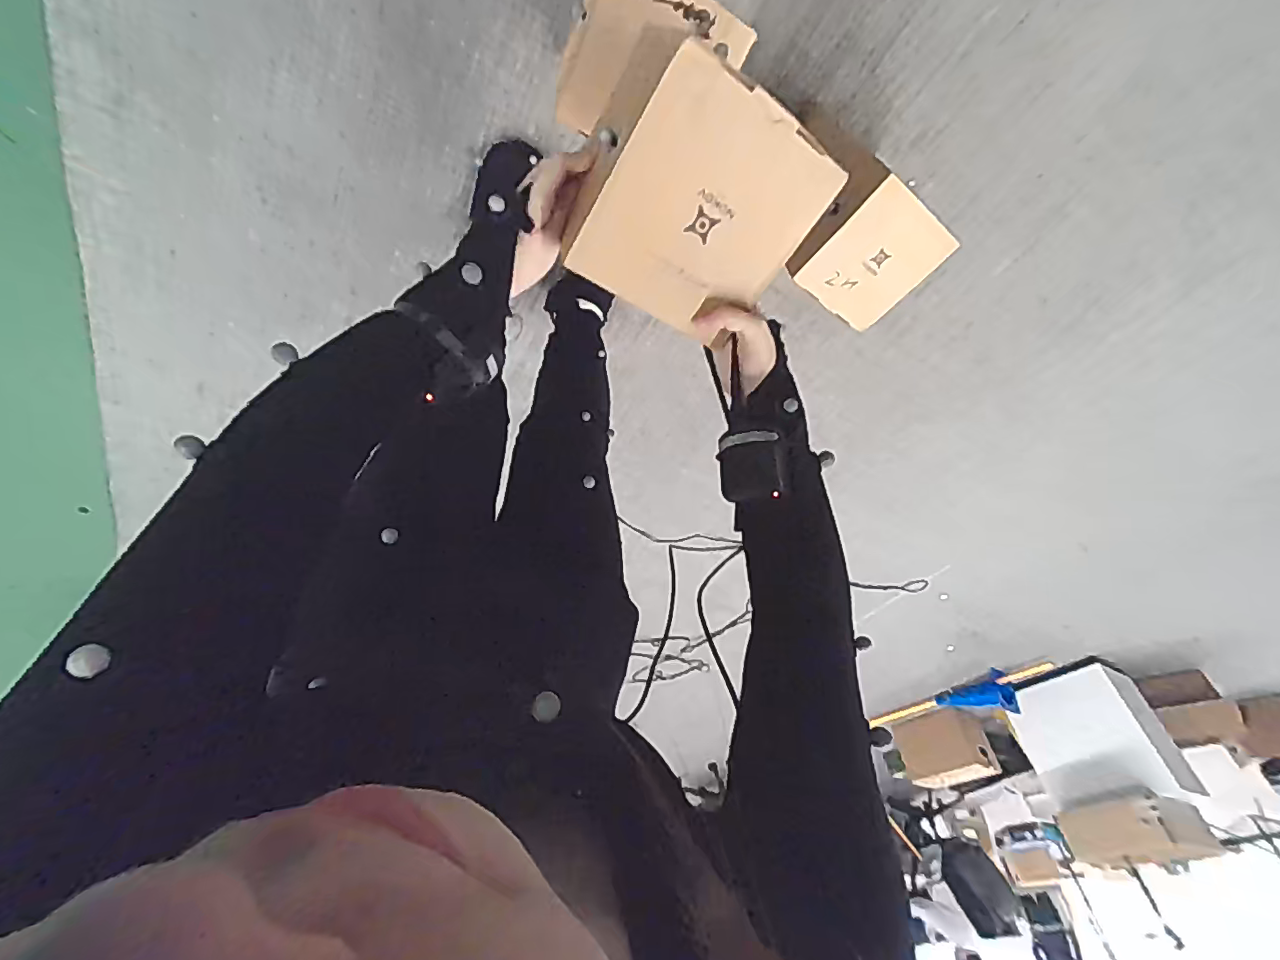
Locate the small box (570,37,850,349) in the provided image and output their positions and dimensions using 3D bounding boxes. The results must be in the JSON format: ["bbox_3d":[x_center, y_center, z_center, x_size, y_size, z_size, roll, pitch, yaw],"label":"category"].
[{"bbox_3d":[0.044,-0.260,0.493,0.168,0.176,0.179,21,124,-27],"label":"small box"}]

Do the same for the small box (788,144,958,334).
[{"bbox_3d":[0.329,-0.368,0.825,0.168,0.176,0.179,24,130,-28],"label":"small box"}]

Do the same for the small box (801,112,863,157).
[{"bbox_3d":[0.313,-0.489,0.936,0.168,0.176,0.179,26,130,-30],"label":"small box"}]

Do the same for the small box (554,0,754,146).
[{"bbox_3d":[0.009,-0.499,0.650,0.168,0.176,0.179,18,133,-24],"label":"small box"}]
